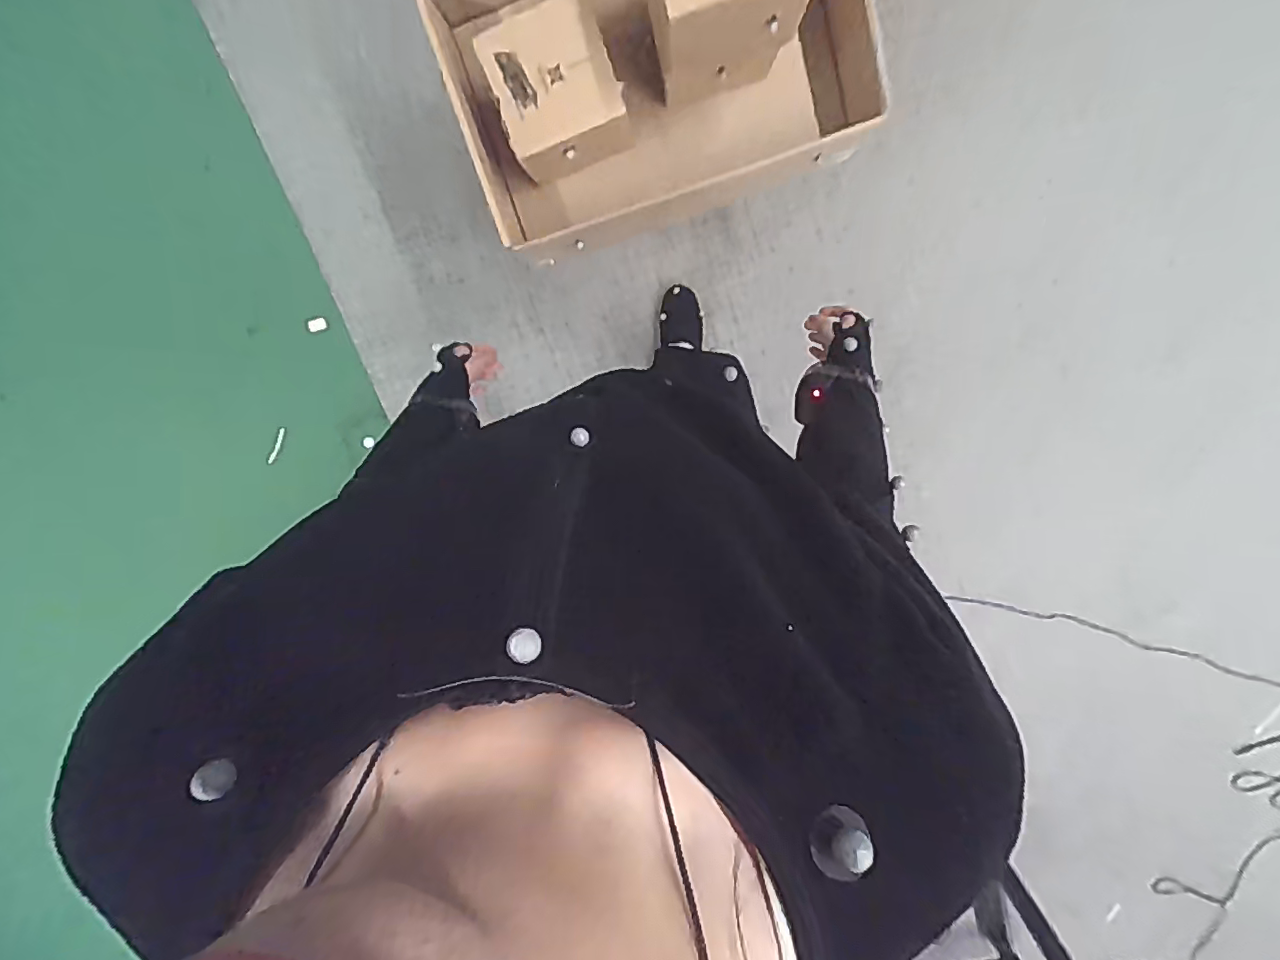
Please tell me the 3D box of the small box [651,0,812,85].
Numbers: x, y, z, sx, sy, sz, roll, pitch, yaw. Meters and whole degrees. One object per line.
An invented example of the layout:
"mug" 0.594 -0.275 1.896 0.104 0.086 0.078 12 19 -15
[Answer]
"small box" 0.101 -0.625 0.657 0.179 0.176 0.168 -12 105 7
